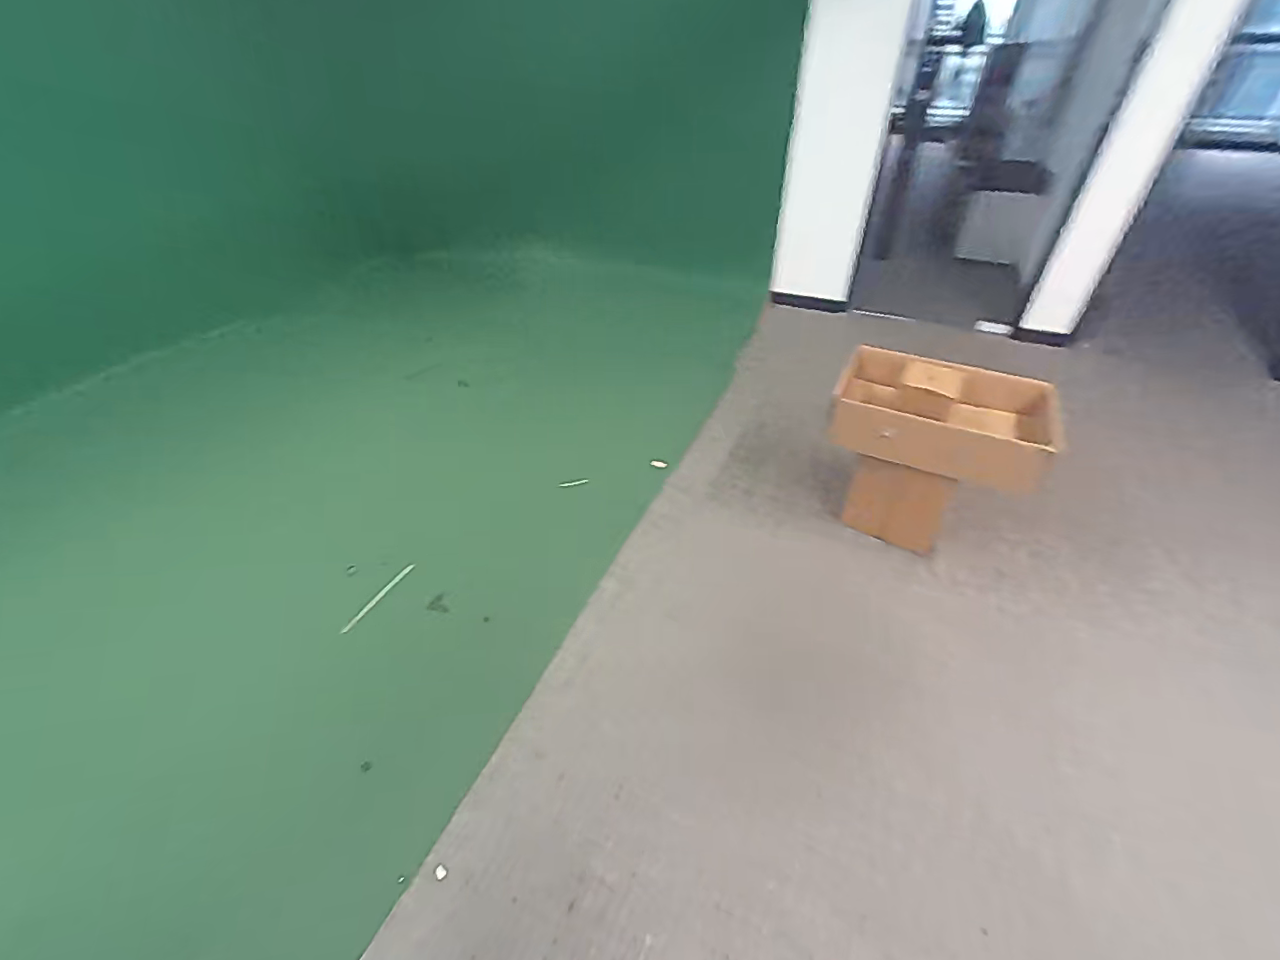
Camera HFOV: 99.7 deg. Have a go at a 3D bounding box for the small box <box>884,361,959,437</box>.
[{"bbox_3d":[0.924,-0.266,1.784,0.168,0.176,0.179,22,44,20],"label":"small box"}]
